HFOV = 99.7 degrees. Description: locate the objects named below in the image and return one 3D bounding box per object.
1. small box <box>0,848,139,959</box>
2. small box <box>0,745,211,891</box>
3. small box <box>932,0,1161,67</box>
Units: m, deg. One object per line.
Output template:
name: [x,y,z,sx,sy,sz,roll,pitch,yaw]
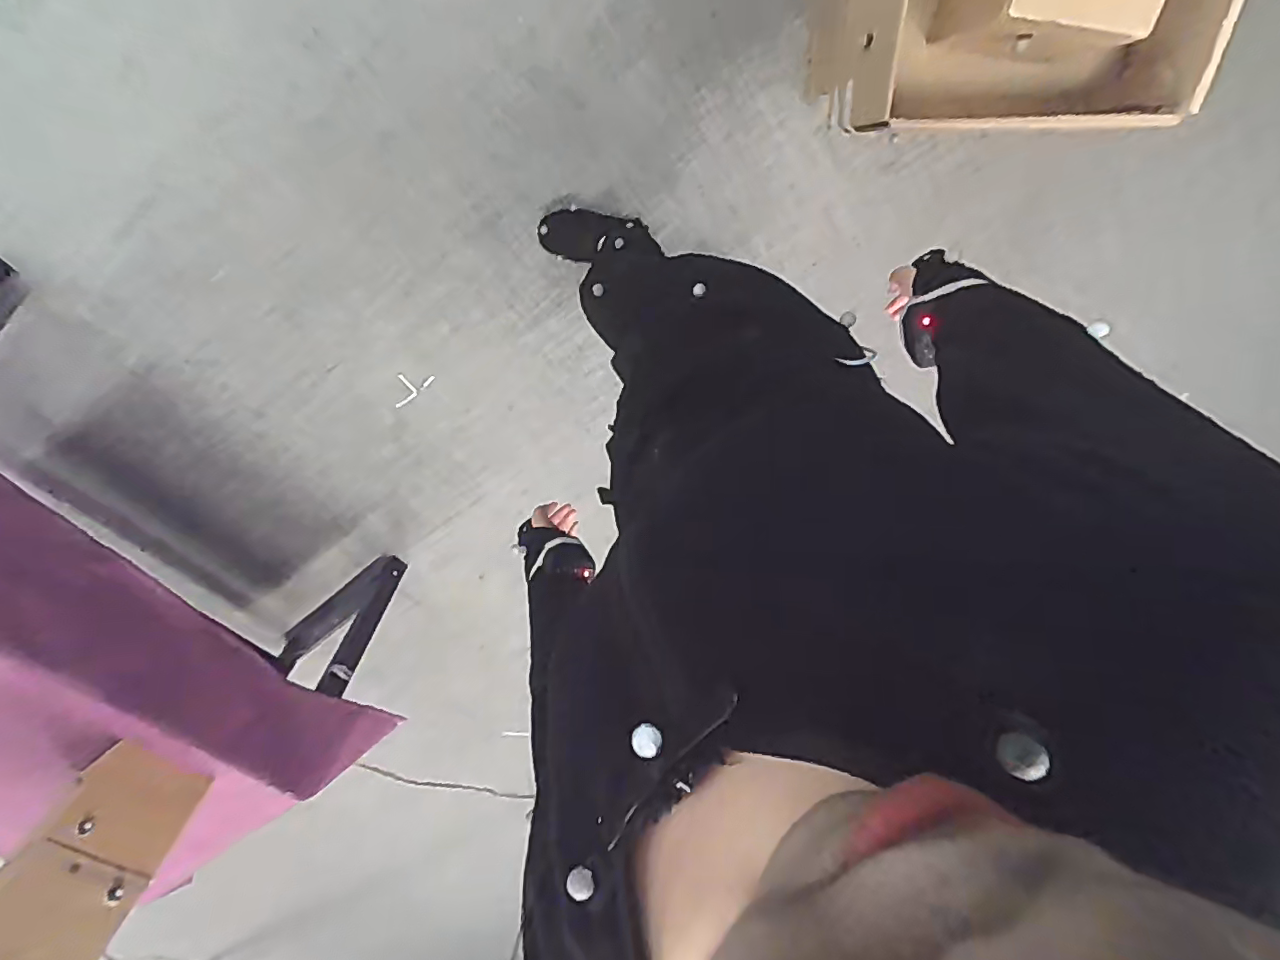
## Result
small box: [-0.898,0.676,0.787,0.179,0.176,0.168,-35,115,17]
small box: [-0.904,0.595,0.930,0.168,0.176,0.179,-35,115,16]
small box: [0.483,-0.604,0.631,0.179,0.176,0.168,4,119,-4]
